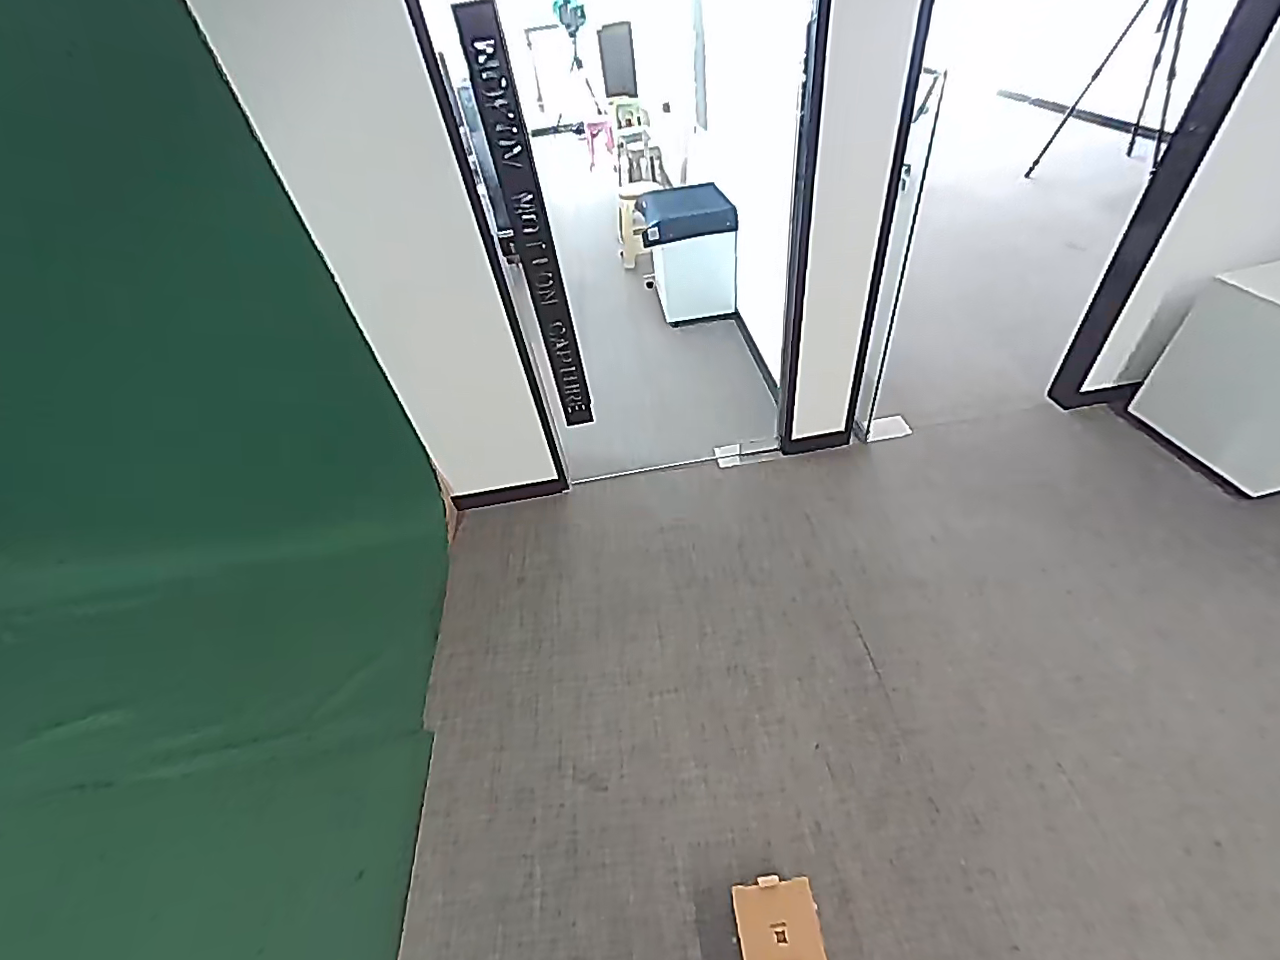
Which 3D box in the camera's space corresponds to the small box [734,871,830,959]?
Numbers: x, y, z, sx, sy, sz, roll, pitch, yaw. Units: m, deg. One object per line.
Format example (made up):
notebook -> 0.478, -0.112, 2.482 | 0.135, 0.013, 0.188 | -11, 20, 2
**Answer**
small box -> 0.291, 0.947, 1.130 | 0.168, 0.176, 0.179 | -9, 44, 4
